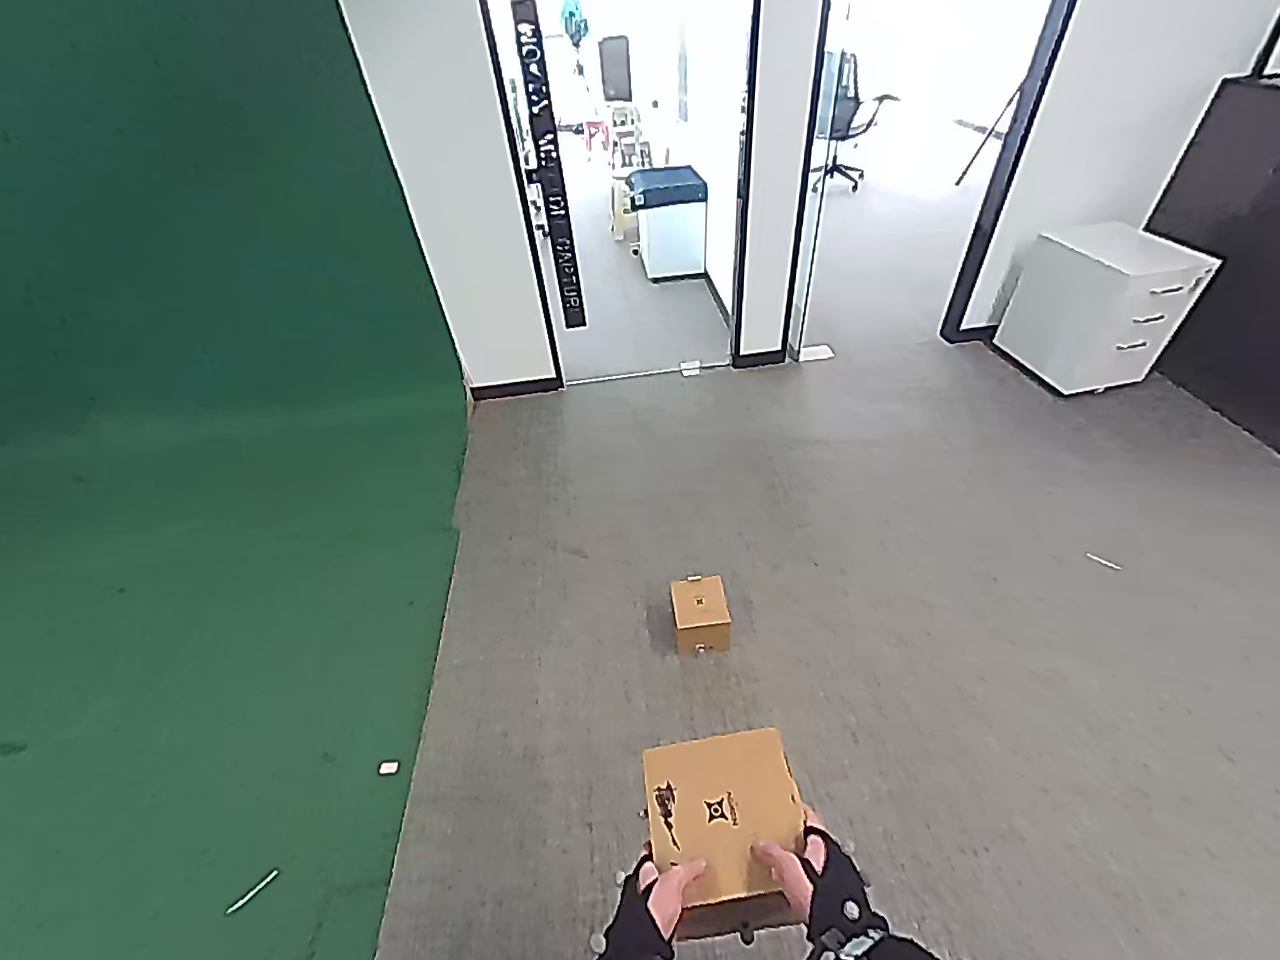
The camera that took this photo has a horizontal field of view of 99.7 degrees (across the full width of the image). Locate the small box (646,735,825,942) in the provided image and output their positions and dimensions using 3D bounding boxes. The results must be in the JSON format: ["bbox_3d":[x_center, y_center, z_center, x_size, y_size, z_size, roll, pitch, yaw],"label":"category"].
[{"bbox_3d":[0.109,0.442,0.668,0.179,0.176,0.168,-9,40,1],"label":"small box"}]

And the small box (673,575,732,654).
[{"bbox_3d":[0.195,0.426,1.713,0.168,0.176,0.179,-7,43,2],"label":"small box"}]
